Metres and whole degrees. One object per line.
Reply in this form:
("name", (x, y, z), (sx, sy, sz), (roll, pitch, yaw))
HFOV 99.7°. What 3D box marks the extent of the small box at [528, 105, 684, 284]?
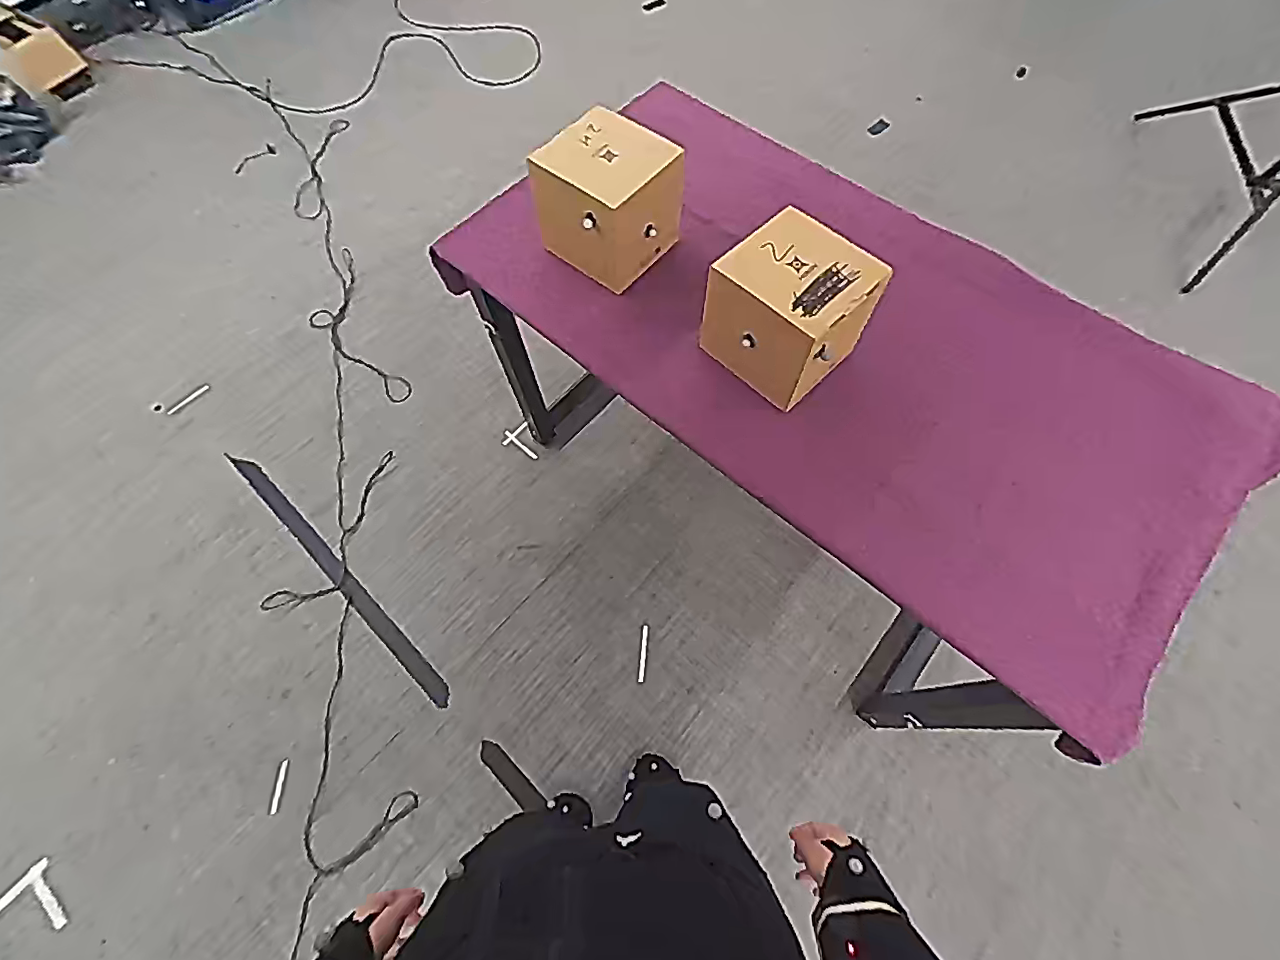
("small box", (-0.049, -0.448, 0.871), (0.179, 0.176, 0.168), (37, 70, 16))
